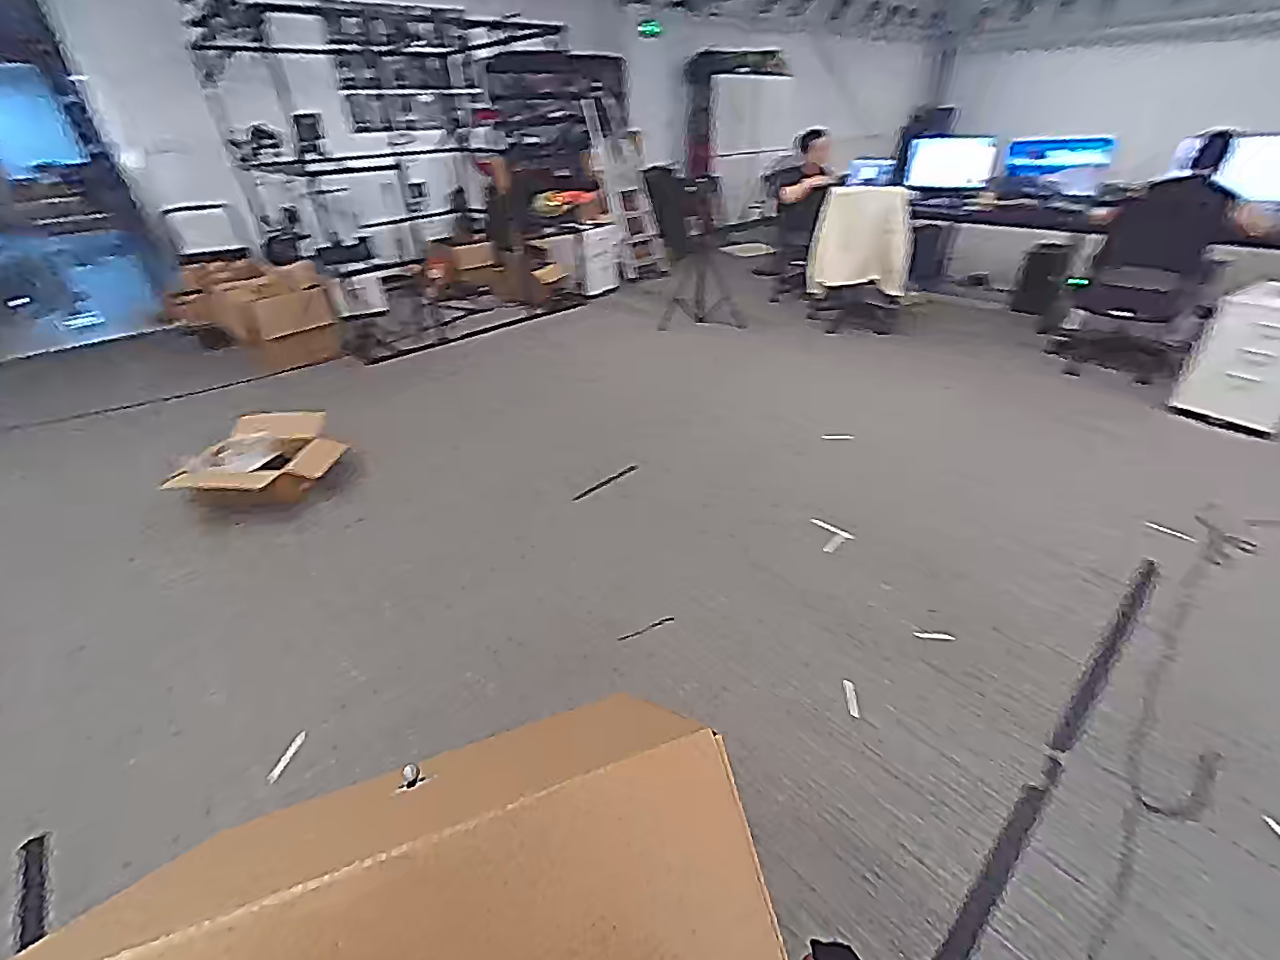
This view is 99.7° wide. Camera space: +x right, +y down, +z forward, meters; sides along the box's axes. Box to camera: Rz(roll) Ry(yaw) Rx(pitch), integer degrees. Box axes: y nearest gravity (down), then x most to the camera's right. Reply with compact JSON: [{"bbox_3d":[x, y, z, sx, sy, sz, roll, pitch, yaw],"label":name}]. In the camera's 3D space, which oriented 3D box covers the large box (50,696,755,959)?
[{"bbox_3d":[-0.138,0.392,0.395,0.408,0.320,0.320,-14,77,-16],"label":"large box"}]
